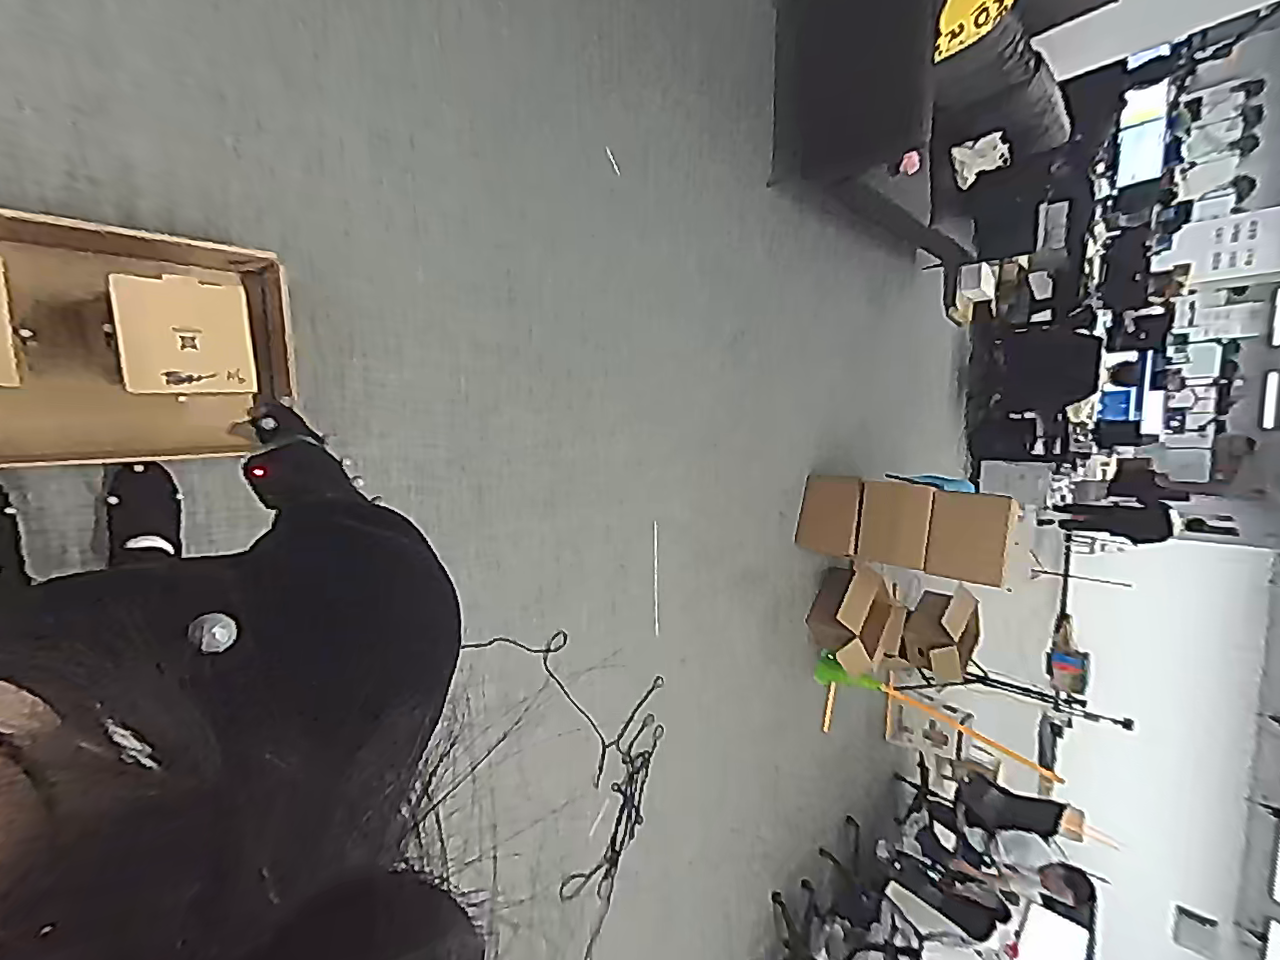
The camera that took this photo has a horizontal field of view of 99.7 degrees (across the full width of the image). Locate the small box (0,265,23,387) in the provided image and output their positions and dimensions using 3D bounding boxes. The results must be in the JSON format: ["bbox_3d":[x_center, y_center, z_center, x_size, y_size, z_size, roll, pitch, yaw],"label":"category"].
[{"bbox_3d":[-0.954,-0.214,0.714,0.168,0.176,0.179,-7,100,-46],"label":"small box"}]

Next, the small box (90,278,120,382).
[{"bbox_3d":[-0.885,-0.270,1.008,0.179,0.176,0.168,-14,105,-44],"label":"small box"}]

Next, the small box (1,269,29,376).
[{"bbox_3d":[-1.077,-0.235,0.821,0.179,0.176,0.168,-13,104,-46],"label":"small box"}]

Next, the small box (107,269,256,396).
[{"bbox_3d":[-0.765,-0.234,0.902,0.168,0.176,0.179,-9,100,-44],"label":"small box"}]
